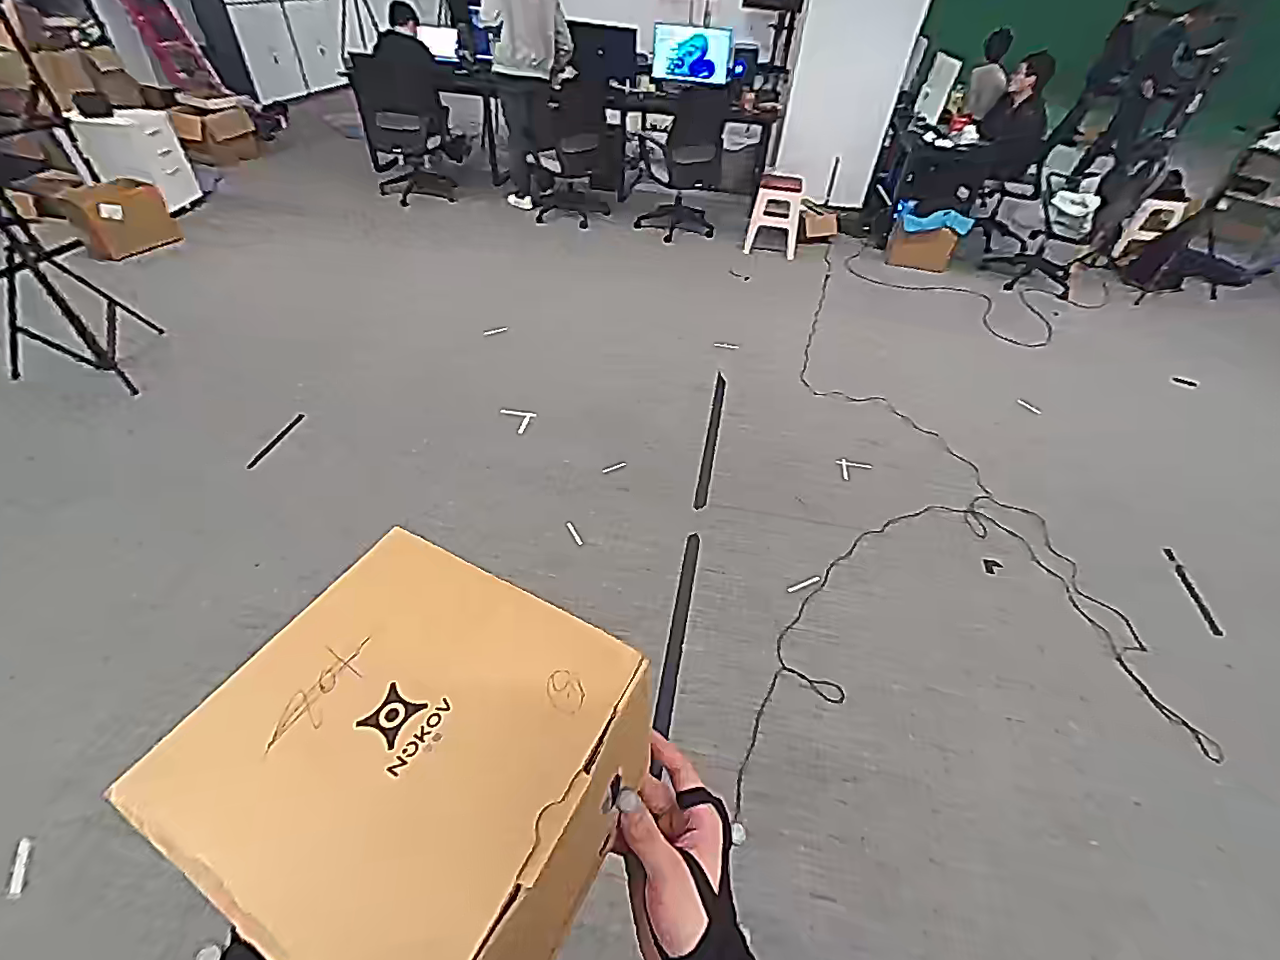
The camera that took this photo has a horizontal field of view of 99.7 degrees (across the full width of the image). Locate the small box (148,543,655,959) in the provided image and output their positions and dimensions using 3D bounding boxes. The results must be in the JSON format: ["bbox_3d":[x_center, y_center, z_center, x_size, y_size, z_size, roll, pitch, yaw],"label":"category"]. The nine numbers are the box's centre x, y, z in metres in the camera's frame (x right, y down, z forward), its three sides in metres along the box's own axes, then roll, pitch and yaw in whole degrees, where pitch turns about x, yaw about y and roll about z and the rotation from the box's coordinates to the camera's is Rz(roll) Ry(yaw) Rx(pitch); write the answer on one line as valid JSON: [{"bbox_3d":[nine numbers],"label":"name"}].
[{"bbox_3d":[-0.103,0.173,0.315,0.179,0.176,0.168,20,49,20],"label":"small box"}]
